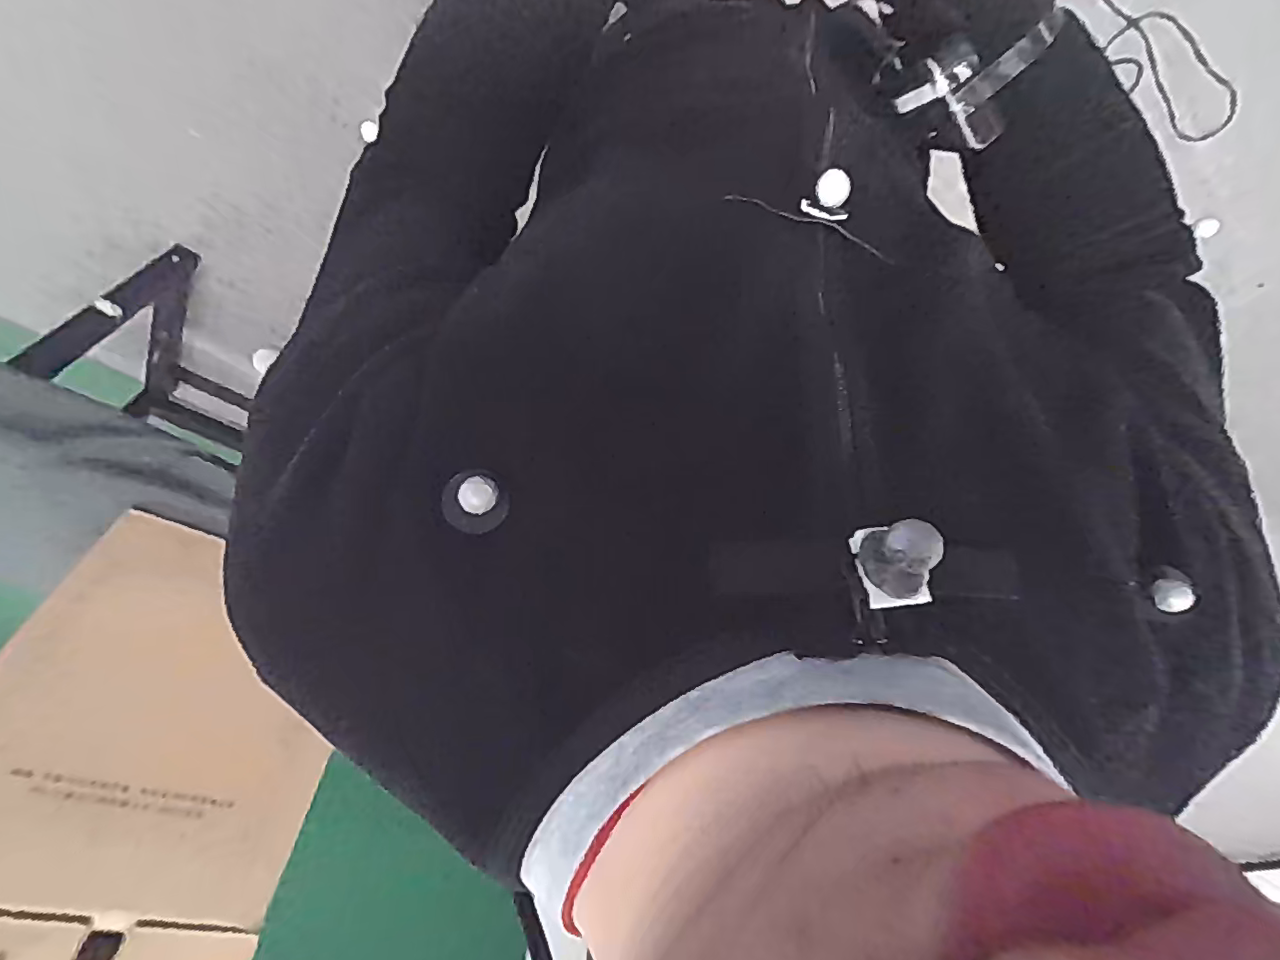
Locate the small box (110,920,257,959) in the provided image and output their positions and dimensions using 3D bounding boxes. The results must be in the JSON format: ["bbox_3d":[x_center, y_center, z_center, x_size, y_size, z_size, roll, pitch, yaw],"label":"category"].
[{"bbox_3d":[-0.738,0.797,0.841,0.179,0.176,0.168,28,130,-26],"label":"small box"}]

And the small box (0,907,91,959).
[{"bbox_3d":[-0.919,0.710,0.750,0.168,0.176,0.179,29,129,-25],"label":"small box"}]
